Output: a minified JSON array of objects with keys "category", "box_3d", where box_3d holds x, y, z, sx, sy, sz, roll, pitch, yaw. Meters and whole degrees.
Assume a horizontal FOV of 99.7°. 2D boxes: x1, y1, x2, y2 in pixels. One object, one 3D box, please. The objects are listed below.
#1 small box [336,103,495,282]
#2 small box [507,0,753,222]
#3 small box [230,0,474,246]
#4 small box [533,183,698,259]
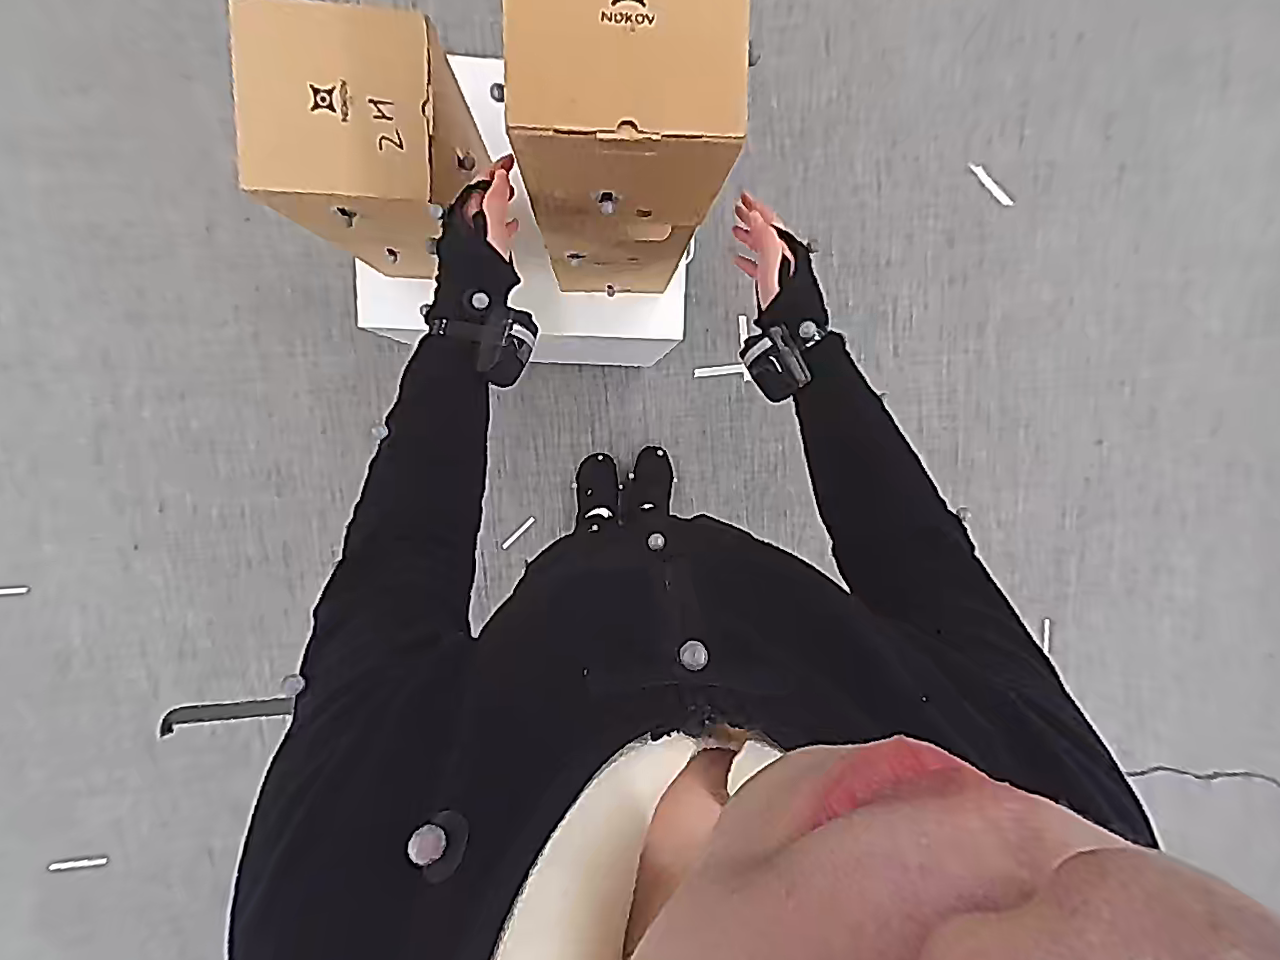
[{"category":"small box","box_3d":[-0.297,-0.385,0.736,0.168,0.176,0.179,2,97,-4]},{"category":"small box","box_3d":[-0.012,-0.330,0.434,0.168,0.176,0.179,-1,98,-4]},{"category":"small box","box_3d":[-0.286,-0.359,0.573,0.179,0.176,0.168,2,98,-5]},{"category":"small box","box_3d":[-0.025,-0.353,0.594,0.168,0.176,0.179,0,97,-4]}]
